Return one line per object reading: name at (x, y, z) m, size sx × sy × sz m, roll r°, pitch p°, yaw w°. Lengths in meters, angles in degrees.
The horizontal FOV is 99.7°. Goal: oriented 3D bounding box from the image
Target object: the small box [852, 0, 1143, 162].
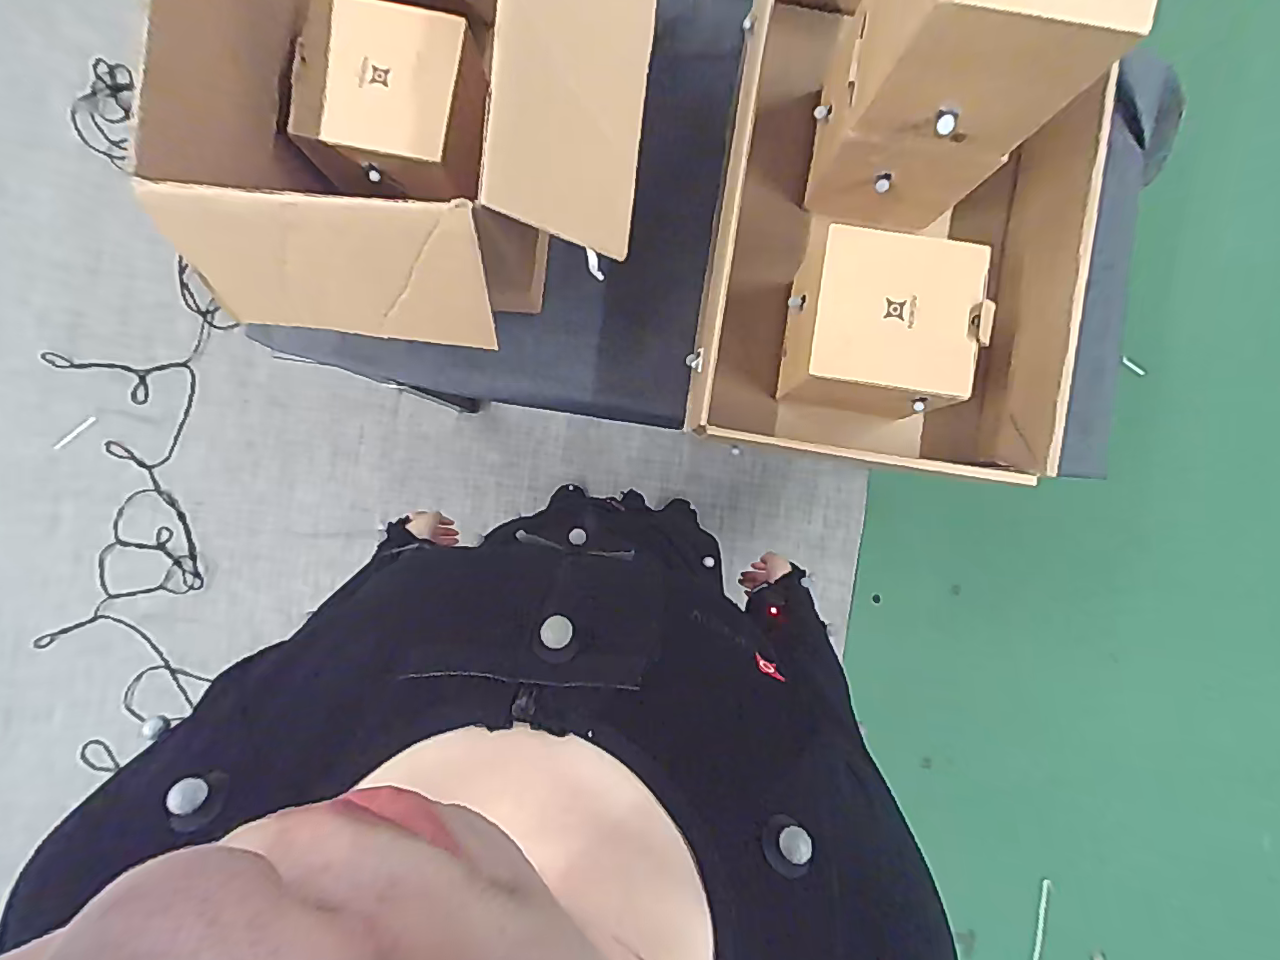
small box at (0.315, -0.435, 0.495) m, size 0.168 × 0.176 × 0.179 m, roll 10°, pitch 93°, yaw -1°
